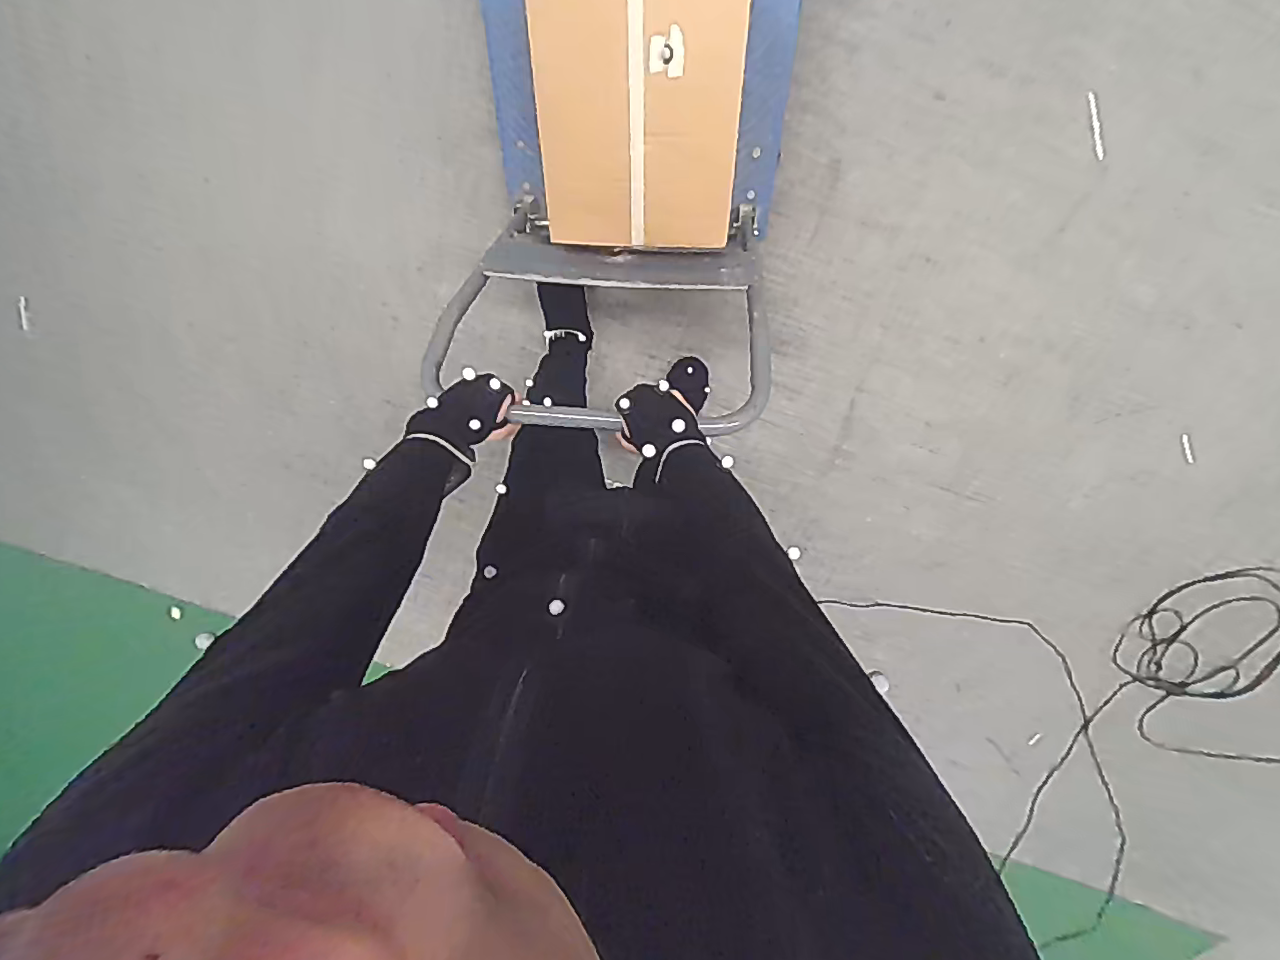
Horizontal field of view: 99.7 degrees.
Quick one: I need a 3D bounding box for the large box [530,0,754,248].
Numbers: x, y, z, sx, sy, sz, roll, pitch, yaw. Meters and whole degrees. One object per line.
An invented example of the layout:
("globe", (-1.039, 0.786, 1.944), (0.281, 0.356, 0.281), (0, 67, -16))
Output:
("large box", (0.018, -0.651, 0.927), (0.320, 0.320, 0.408), (3, 130, 4))
